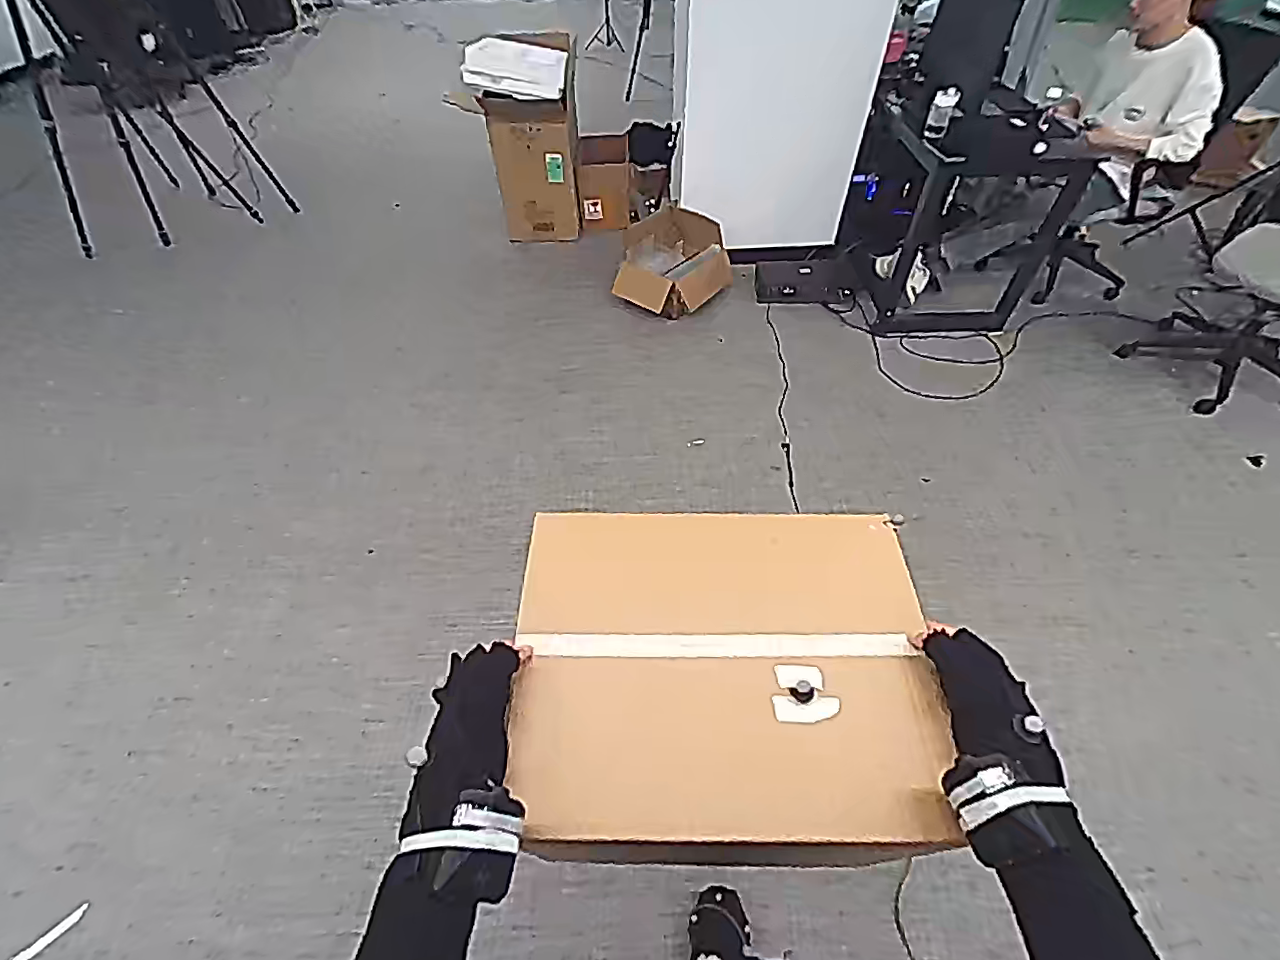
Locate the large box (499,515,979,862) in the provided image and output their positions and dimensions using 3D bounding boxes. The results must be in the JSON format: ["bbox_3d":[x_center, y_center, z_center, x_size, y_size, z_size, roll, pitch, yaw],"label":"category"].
[{"bbox_3d":[0.078,0.254,0.647,0.408,0.320,0.320,0,52,0],"label":"large box"}]
